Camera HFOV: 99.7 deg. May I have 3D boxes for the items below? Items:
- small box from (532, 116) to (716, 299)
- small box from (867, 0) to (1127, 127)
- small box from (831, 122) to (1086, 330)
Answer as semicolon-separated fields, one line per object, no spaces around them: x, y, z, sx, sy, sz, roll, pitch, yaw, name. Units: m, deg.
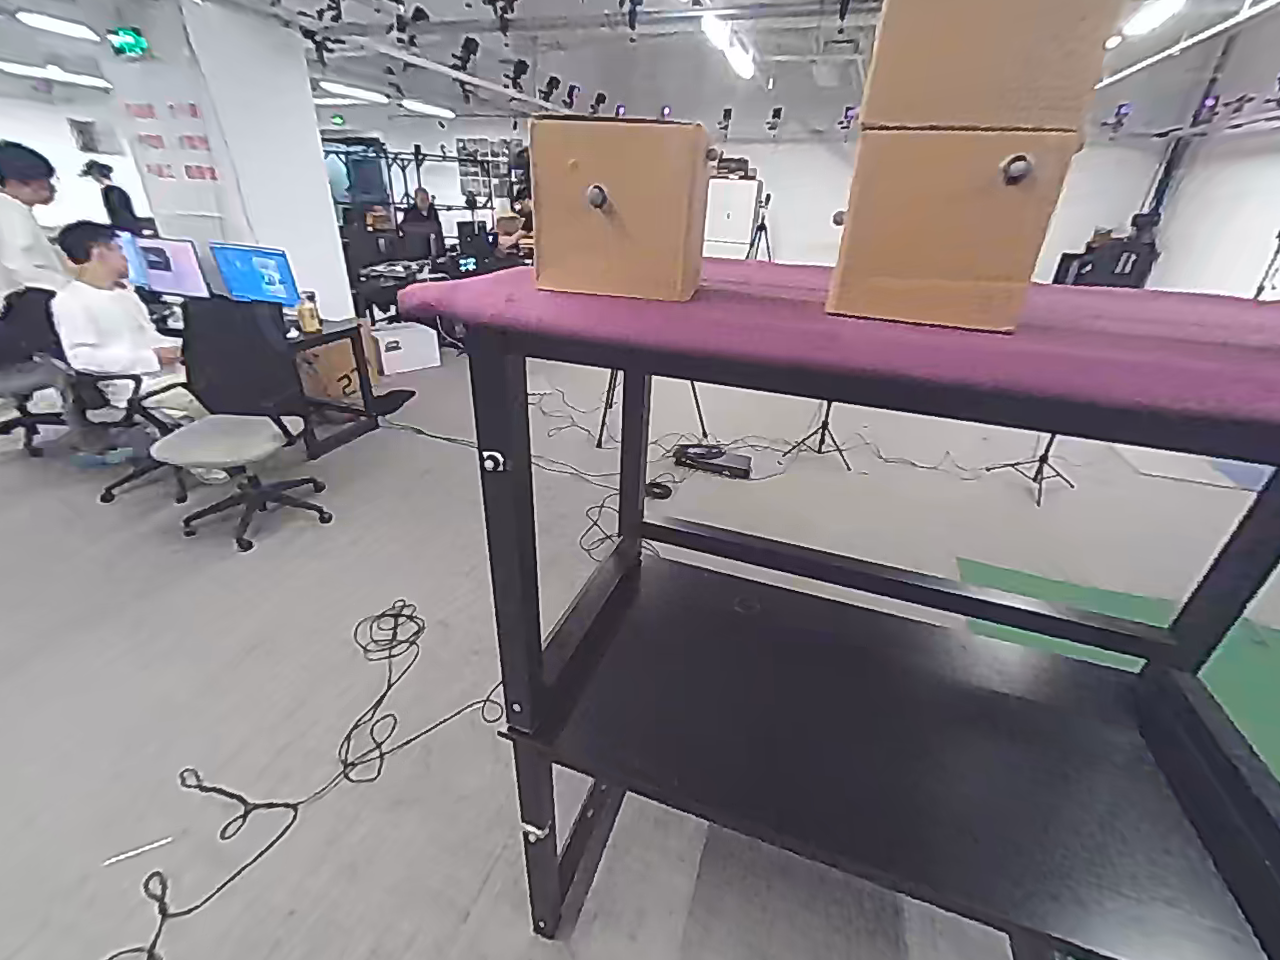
-0.011;-0.310;0.629;0.179;0.176;0.168;7;29;8;small box
0.317;-0.406;0.494;0.179;0.176;0.168;14;28;17;small box
0.306;-0.258;0.564;0.179;0.176;0.168;13;28;17;small box
